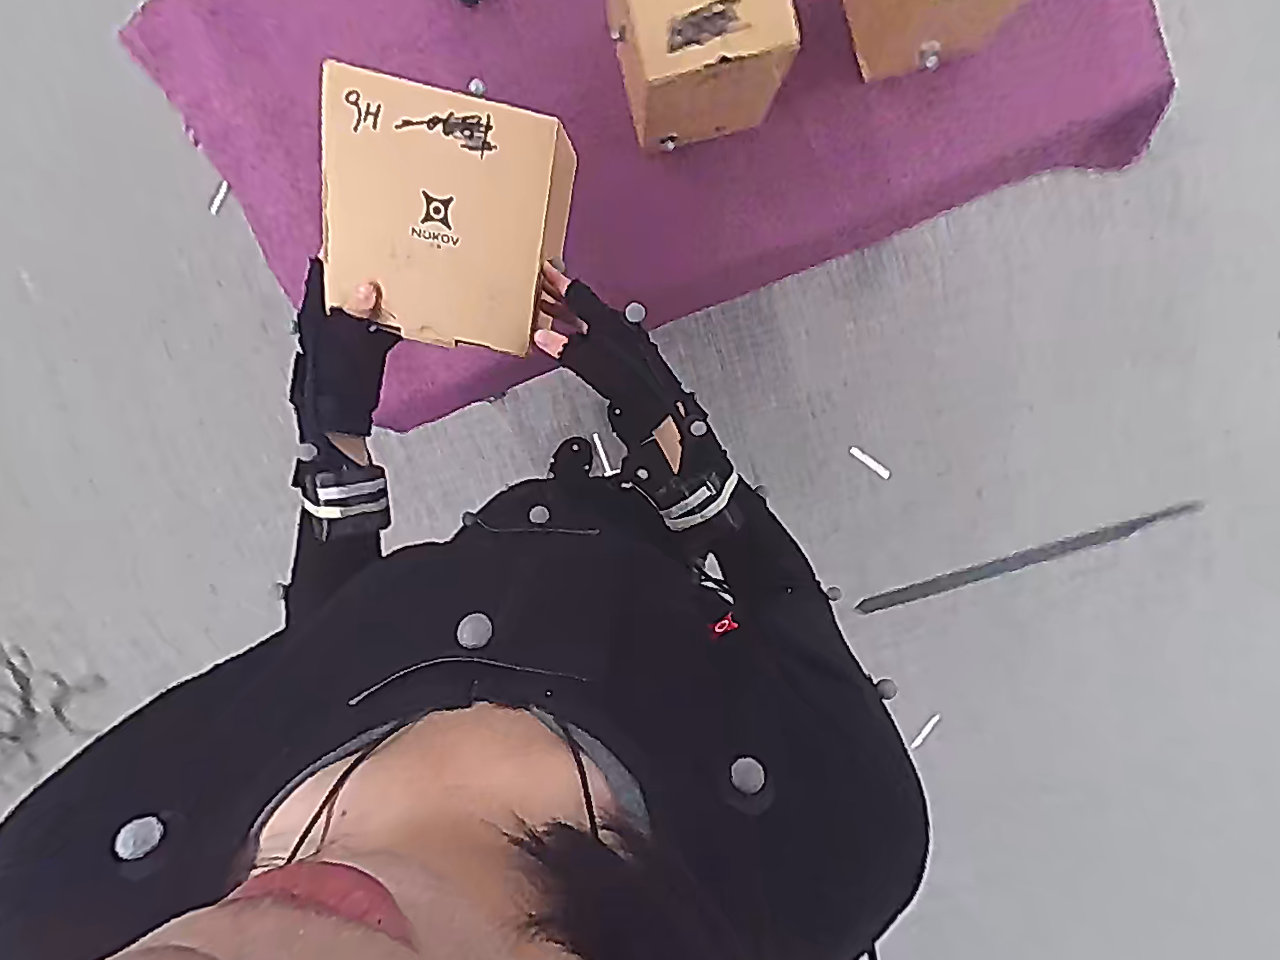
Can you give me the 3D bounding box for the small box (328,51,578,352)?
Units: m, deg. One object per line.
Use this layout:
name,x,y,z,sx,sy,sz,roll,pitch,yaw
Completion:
small box,-0.152,-0.232,0.482,0.168,0.176,0.179,11,113,-7

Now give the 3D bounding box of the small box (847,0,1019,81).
small box,0.349,-0.625,0.632,0.168,0.176,0.179,-19,99,2

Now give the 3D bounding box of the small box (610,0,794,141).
small box,0.062,-0.531,0.632,0.168,0.176,0.179,-15,97,0
